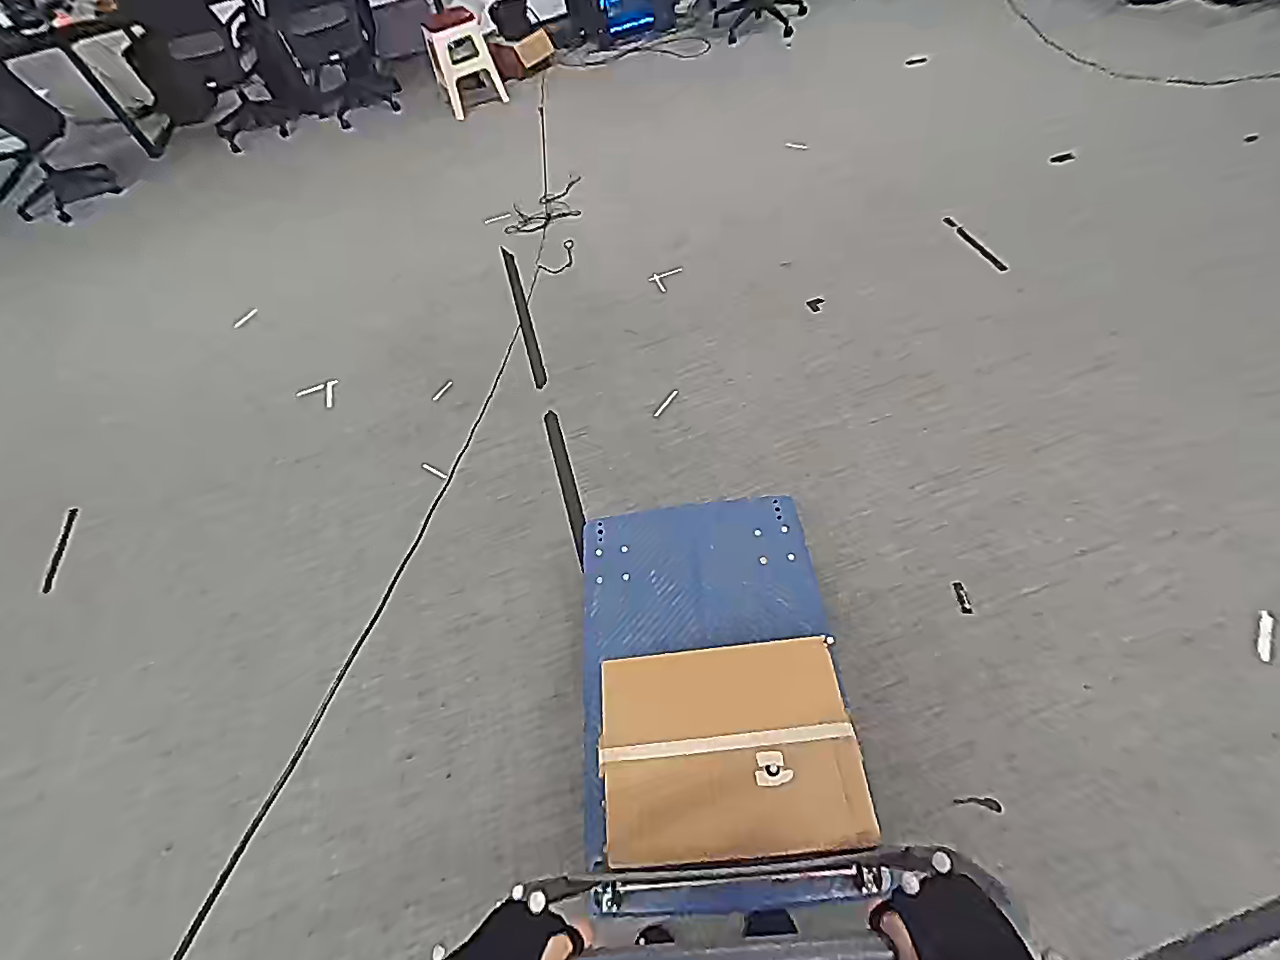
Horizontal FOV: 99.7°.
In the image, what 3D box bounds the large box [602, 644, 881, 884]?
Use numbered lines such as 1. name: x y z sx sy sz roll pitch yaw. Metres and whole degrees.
1. large box: 0.158 0.526 0.989 0.408 0.320 0.320 -8 54 3
